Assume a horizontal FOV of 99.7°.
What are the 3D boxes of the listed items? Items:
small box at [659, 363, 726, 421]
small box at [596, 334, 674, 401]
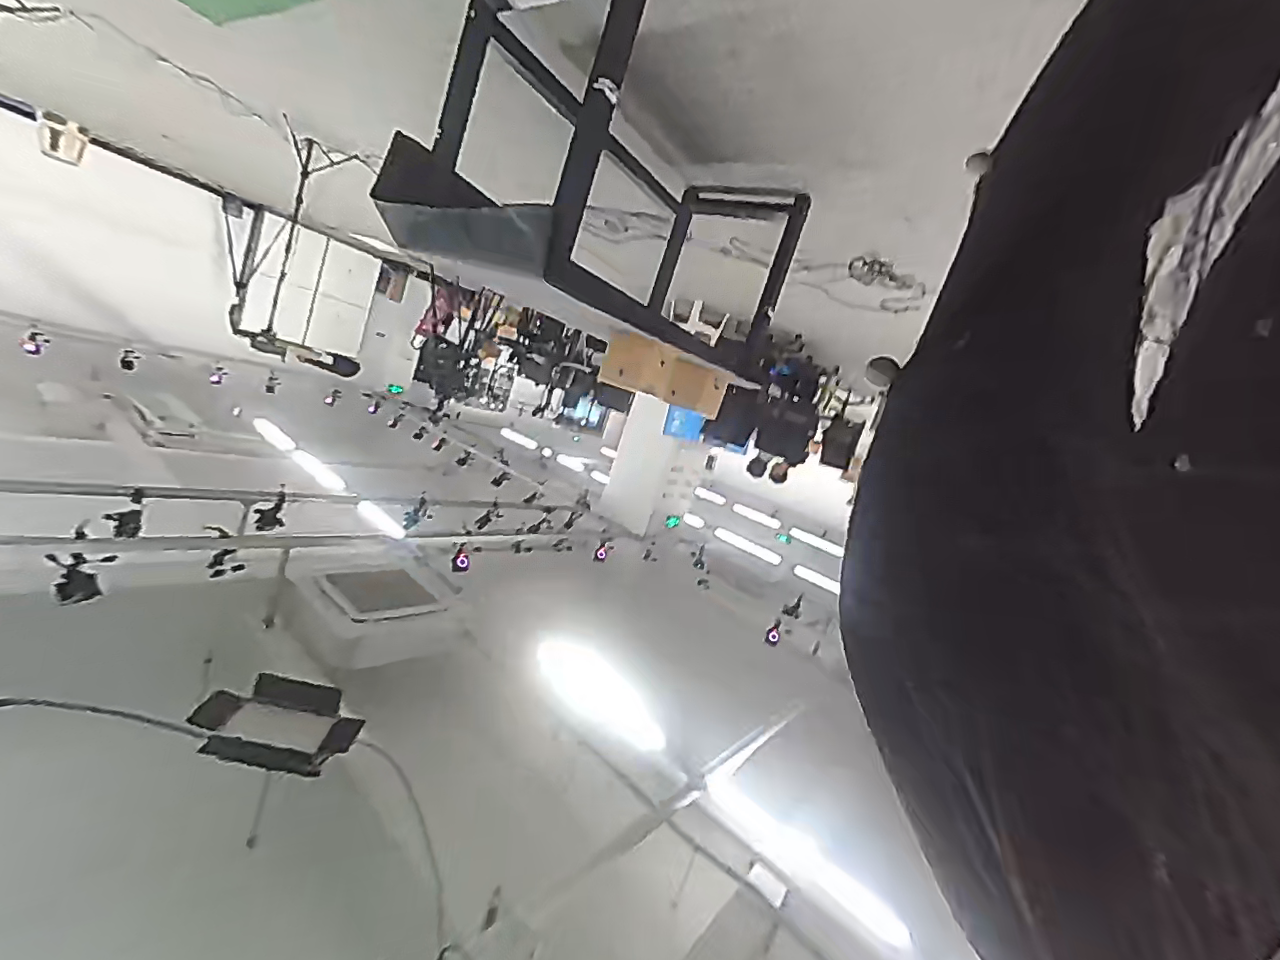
[{"bbox_3d":[0.209,-0.349,2.120,0.179,0.176,0.168,24,-170,34],"label":"small box"},{"bbox_3d":[-0.013,-0.381,1.819,0.179,0.176,0.168,23,-171,34],"label":"small box"}]
